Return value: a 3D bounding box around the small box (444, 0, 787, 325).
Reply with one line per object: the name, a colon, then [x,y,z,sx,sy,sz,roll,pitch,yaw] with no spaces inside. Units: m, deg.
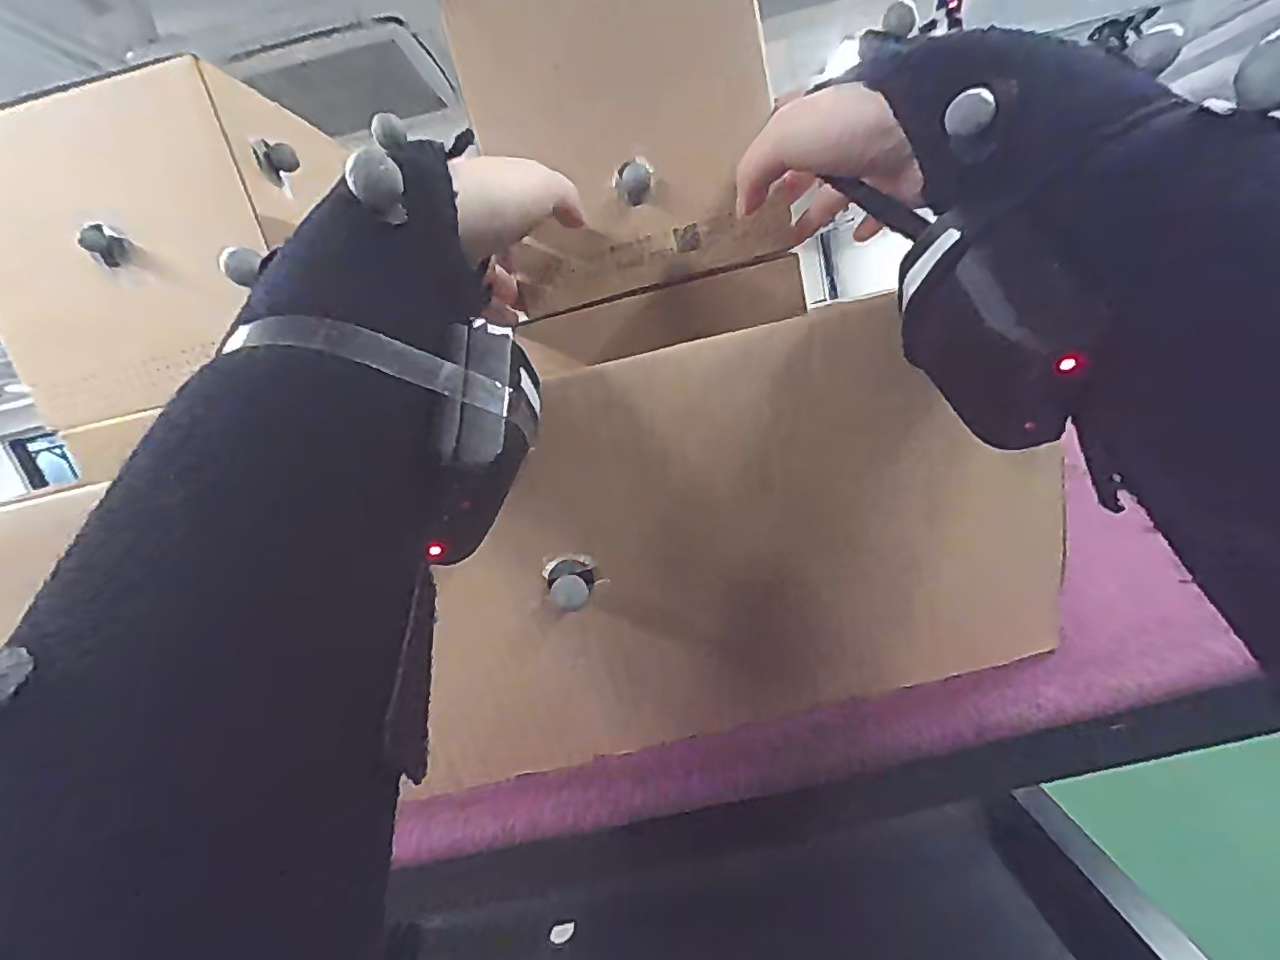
small box: [-0.007,-0.211,0.383,0.168,0.176,0.179,-14,15,5]
